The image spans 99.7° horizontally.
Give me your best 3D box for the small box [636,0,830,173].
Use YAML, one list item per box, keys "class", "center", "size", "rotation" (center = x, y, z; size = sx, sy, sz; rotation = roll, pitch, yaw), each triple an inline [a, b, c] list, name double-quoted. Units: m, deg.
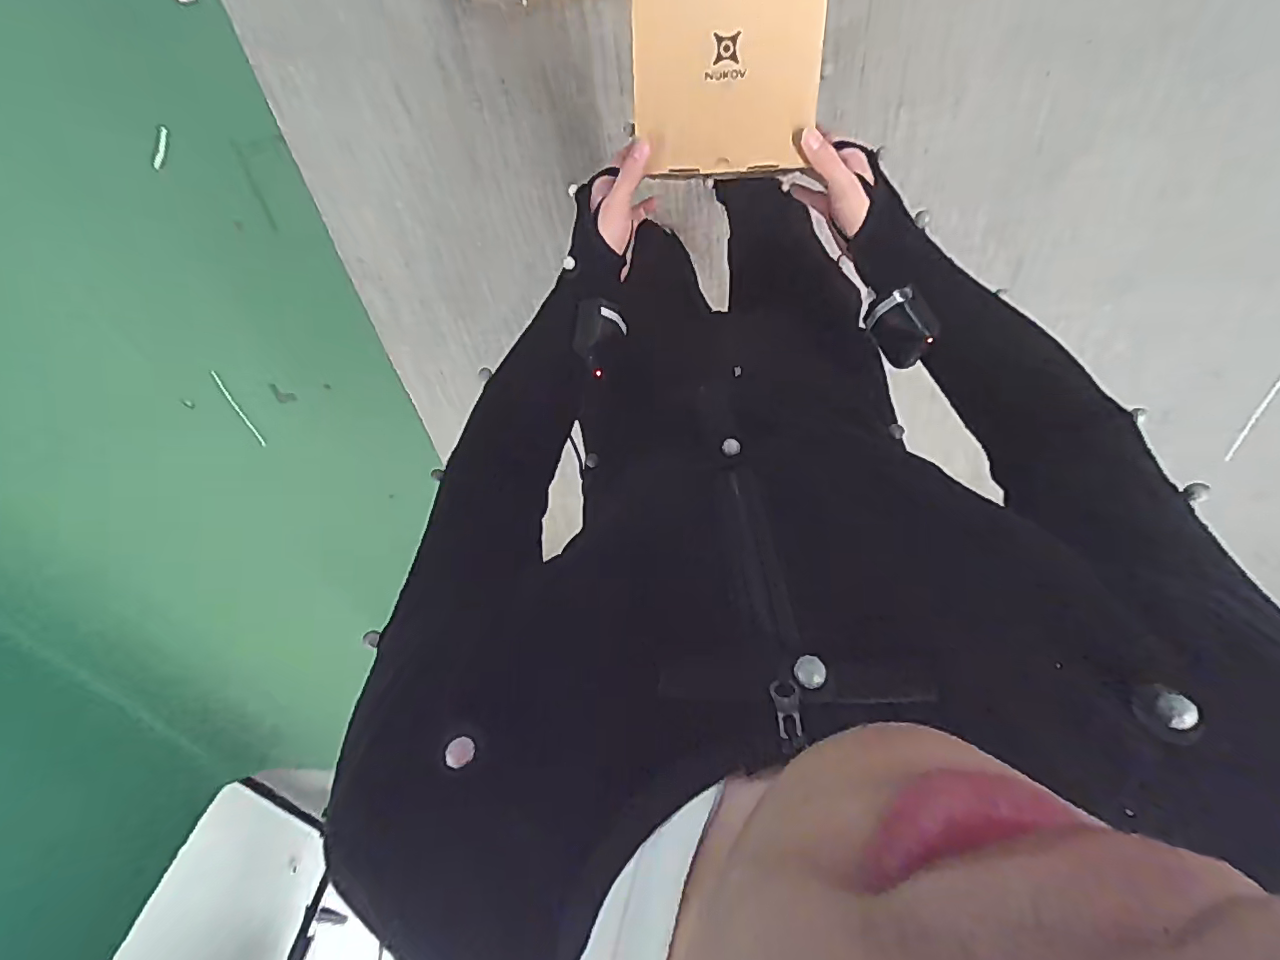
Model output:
- class: "small box"
  center: [0.085, -0.412, 0.537]
  size: [0.168, 0.176, 0.179]
  rotation: [1, 119, 7]
